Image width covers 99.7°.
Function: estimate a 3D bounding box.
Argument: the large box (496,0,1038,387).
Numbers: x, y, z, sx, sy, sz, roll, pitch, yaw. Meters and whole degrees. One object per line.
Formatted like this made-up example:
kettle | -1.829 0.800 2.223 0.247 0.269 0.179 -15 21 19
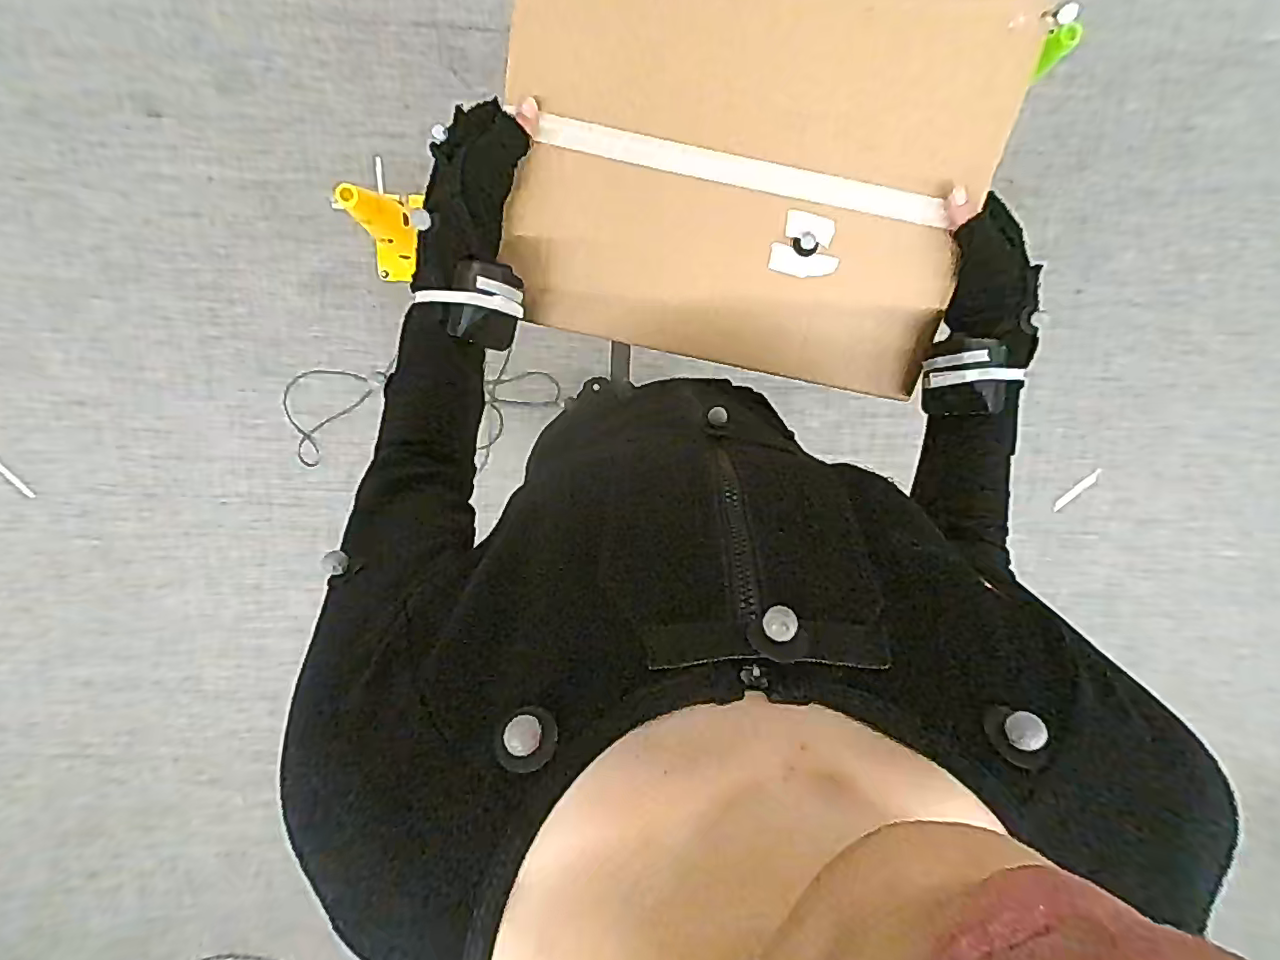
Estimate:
large box | 0.088 -0.312 0.597 0.408 0.320 0.320 11 110 -3
